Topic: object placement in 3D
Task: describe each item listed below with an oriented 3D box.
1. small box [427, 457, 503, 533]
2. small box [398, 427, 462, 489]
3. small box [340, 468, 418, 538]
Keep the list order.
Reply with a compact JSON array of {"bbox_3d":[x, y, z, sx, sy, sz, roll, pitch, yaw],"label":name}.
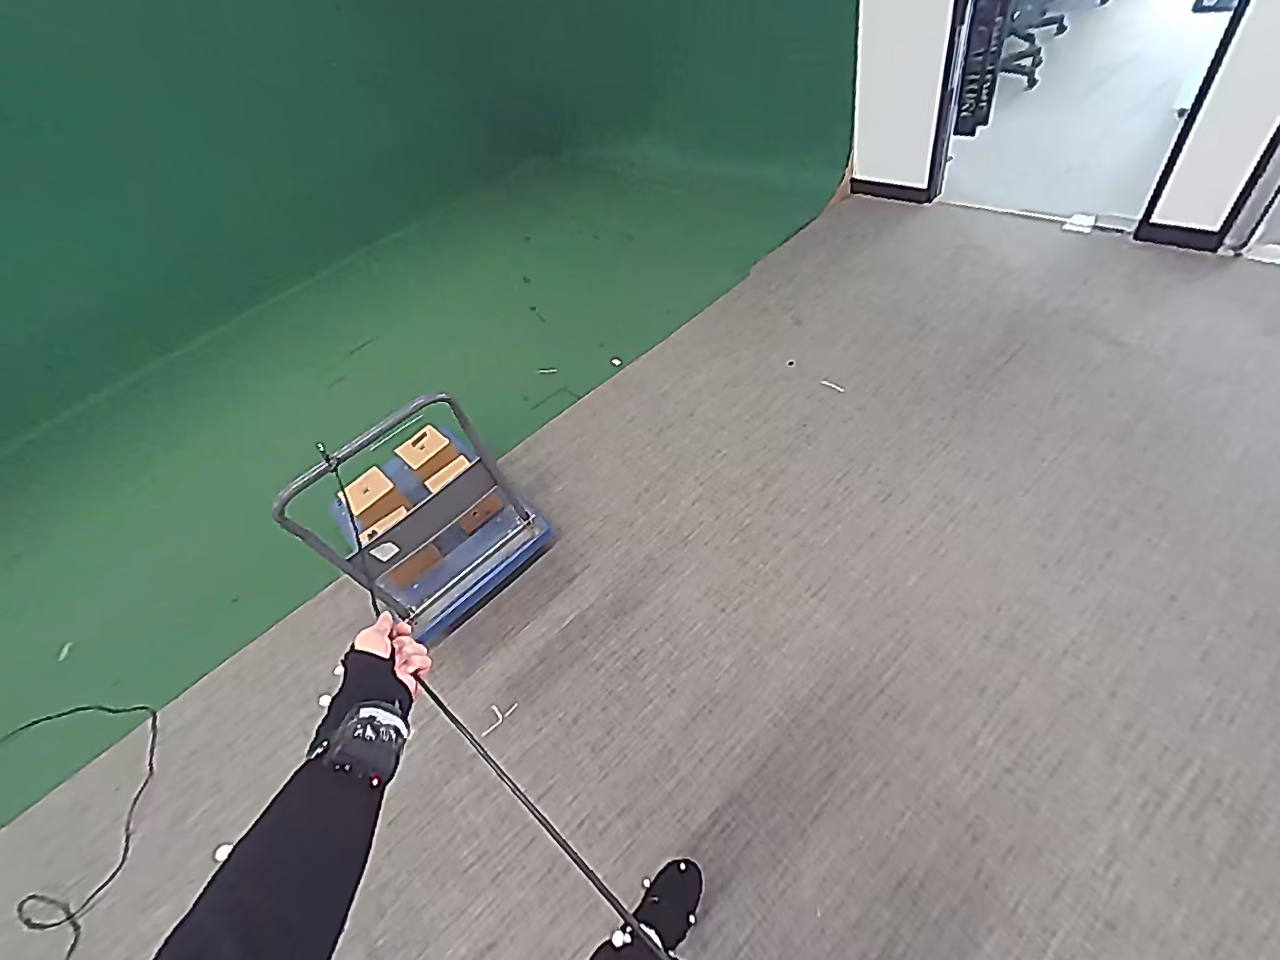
[{"bbox_3d":[-0.623,0.057,1.937,0.168,0.176,0.179,-39,51,-16],"label":"small box"},{"bbox_3d":[-0.797,-0.071,2.100,0.179,0.176,0.168,33,67,35],"label":"small box"},{"bbox_3d":[-0.968,0.093,2.016,0.168,0.176,0.179,-43,52,-20],"label":"small box"}]
